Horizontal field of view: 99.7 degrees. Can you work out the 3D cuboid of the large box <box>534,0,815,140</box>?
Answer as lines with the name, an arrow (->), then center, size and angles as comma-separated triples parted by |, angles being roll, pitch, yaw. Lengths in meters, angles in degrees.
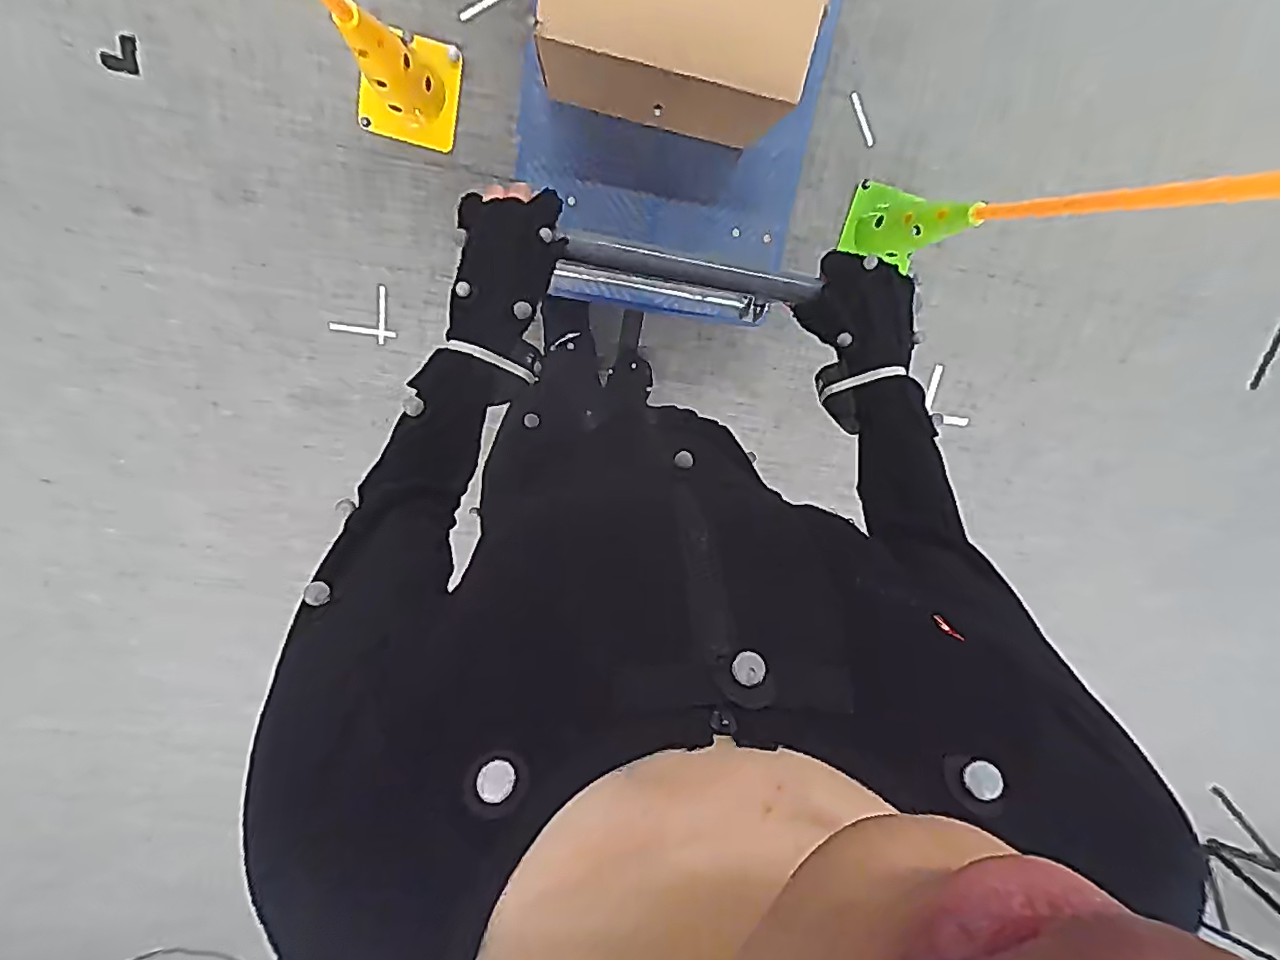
large box -> 0.058, -0.806, 0.896 | 0.408, 0.320, 0.320 | 9, 110, -8

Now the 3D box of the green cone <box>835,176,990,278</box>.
green cone -> 0.620, -0.568, 1.191 | 0.202, 0.368, 0.200 | 11, 108, -11
